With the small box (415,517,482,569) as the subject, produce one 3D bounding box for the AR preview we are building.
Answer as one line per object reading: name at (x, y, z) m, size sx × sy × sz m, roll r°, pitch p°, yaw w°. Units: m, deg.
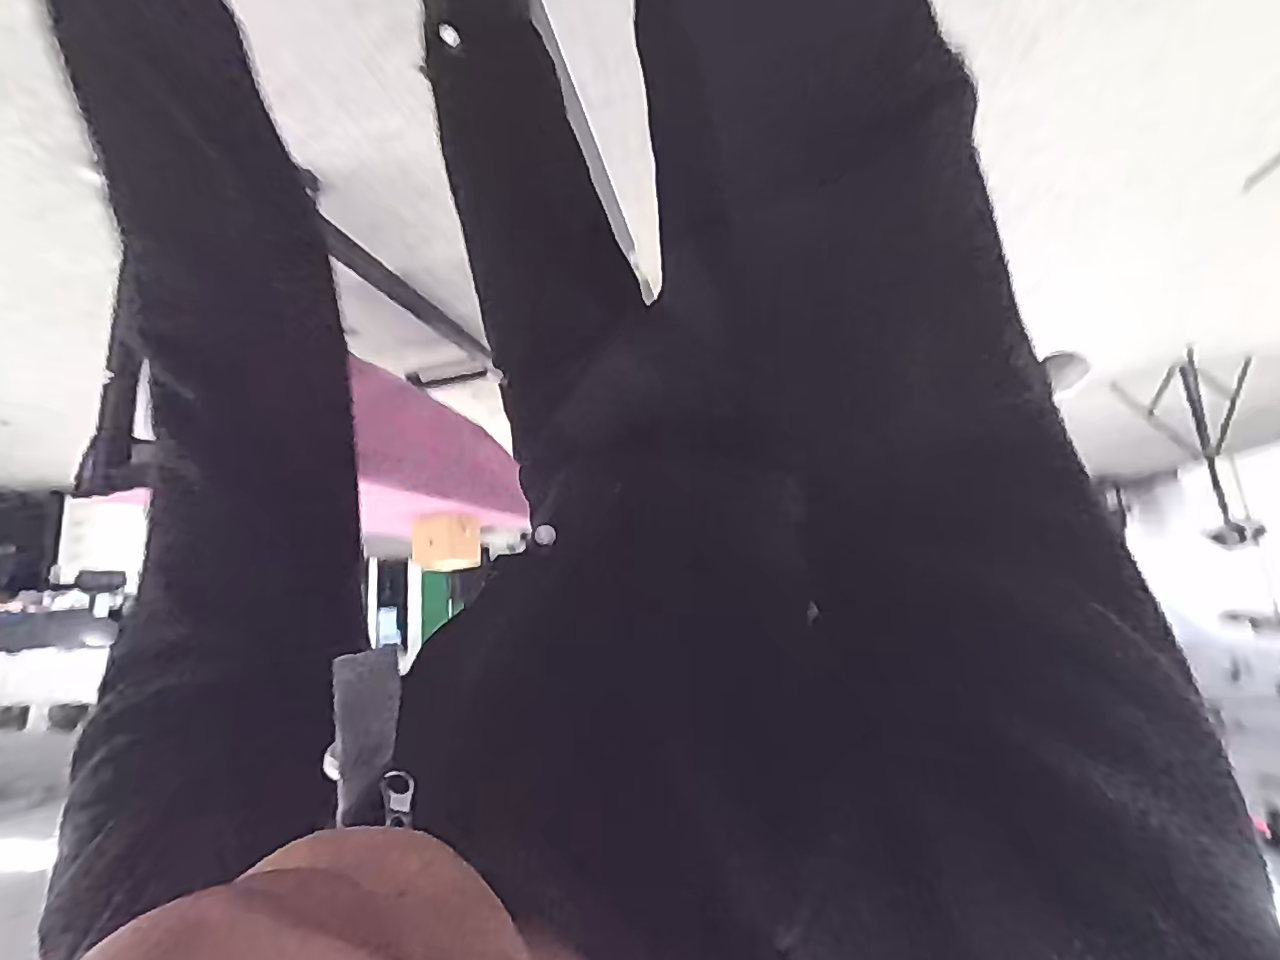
small box at (-0.703, 0.235, 1.994) m, size 0.179 × 0.176 × 0.168 m, roll -11°, pitch 167°, yaw 25°
